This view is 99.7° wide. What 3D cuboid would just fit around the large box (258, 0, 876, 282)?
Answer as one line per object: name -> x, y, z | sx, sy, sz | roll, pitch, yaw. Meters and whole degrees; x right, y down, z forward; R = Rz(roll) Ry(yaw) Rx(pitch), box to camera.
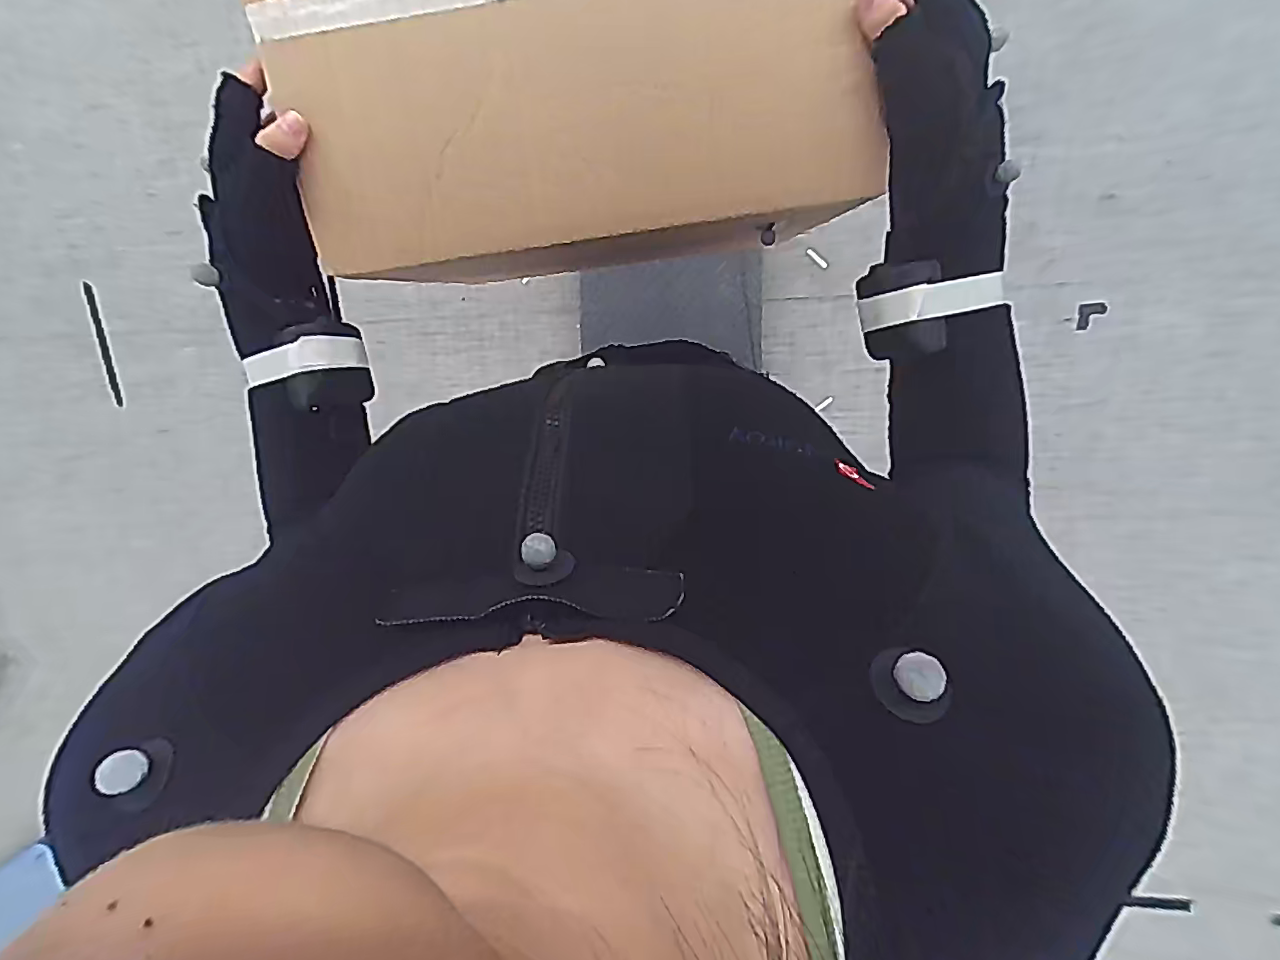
large box -> -0.045, -0.368, 0.487 | 0.408, 0.320, 0.320 | -6, 108, 4
